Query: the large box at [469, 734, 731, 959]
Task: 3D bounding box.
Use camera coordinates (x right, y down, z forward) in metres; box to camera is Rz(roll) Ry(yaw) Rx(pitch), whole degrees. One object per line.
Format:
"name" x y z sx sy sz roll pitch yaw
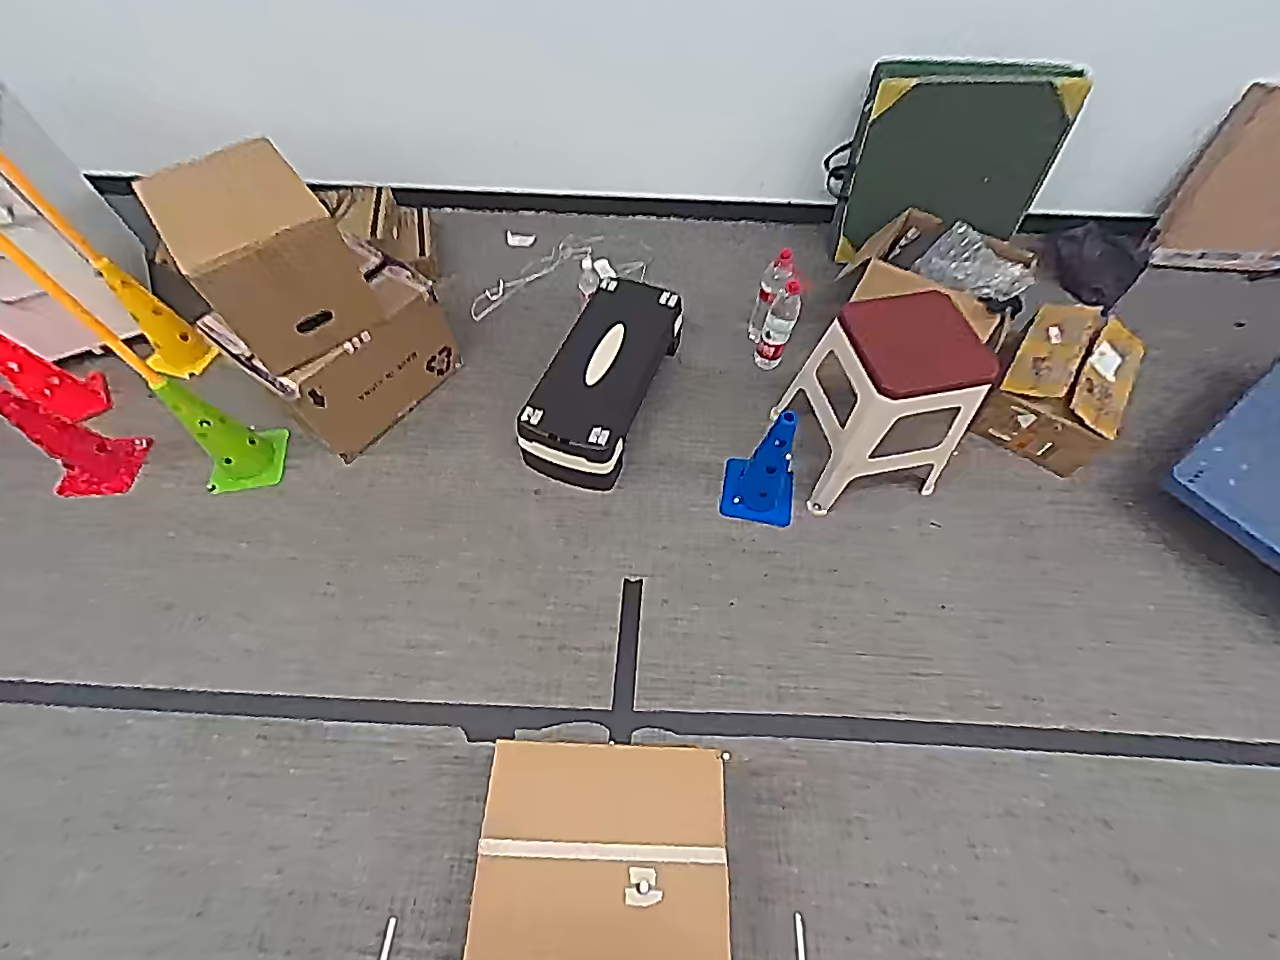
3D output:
"large box" -0.064 0.668 1.014 0.408 0.320 0.320 3 60 -1
